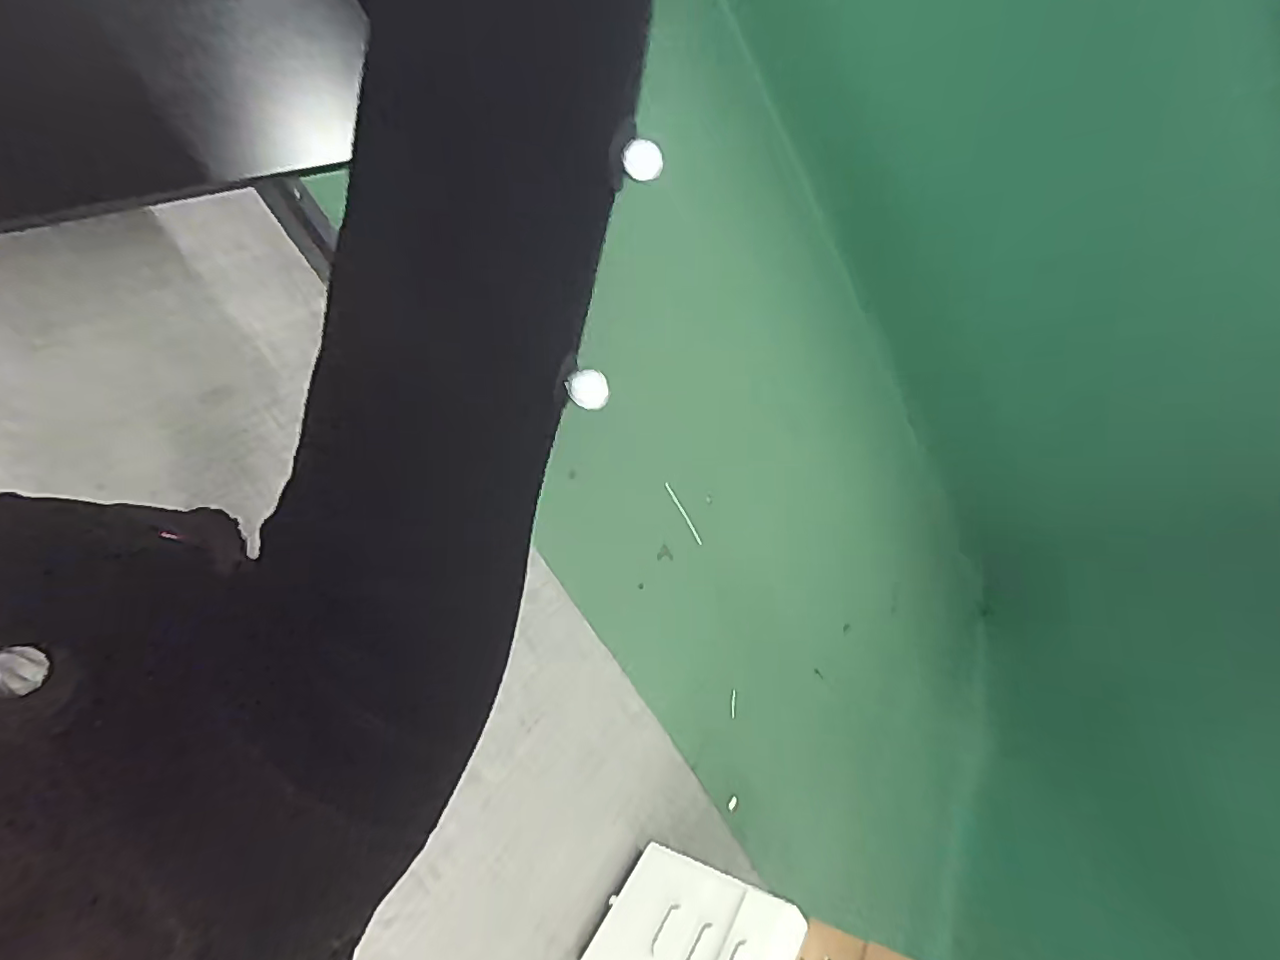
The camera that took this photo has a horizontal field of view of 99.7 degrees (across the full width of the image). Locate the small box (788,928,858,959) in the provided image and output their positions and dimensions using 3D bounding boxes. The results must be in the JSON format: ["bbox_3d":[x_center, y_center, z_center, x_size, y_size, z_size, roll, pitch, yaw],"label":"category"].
[{"bbox_3d":[0.477,1.272,1.349,0.168,0.176,0.179,-41,108,-40],"label":"small box"}]
